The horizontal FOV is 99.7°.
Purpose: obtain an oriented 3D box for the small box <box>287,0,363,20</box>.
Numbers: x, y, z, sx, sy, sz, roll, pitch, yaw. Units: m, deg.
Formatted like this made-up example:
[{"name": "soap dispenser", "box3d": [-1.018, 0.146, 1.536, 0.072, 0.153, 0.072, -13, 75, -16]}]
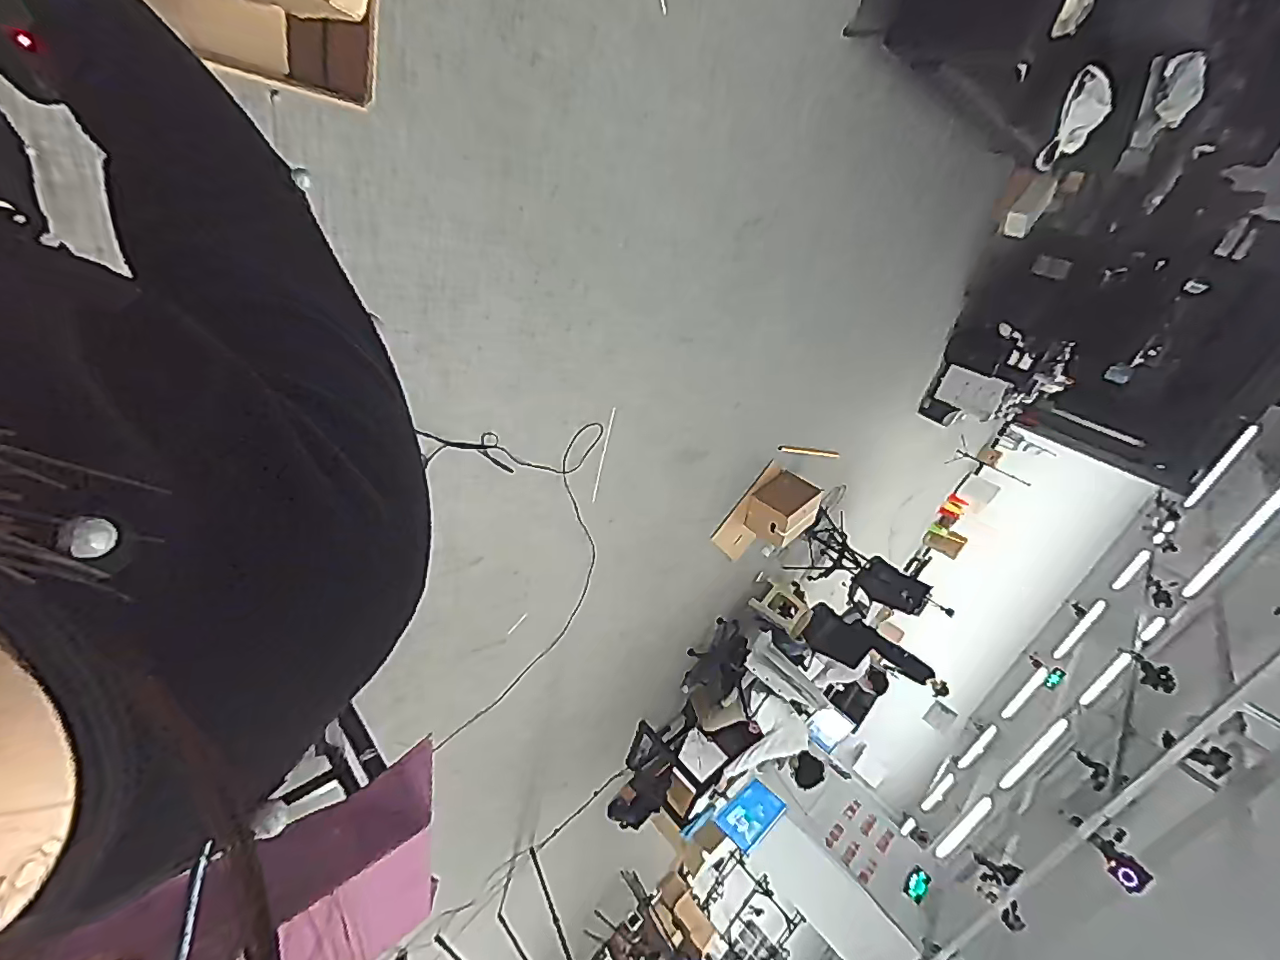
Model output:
[{"name": "small box", "box3d": [-0.334, -0.537, 0.453, 0.168, 0.176, 0.179, -5, 125, -48]}]
